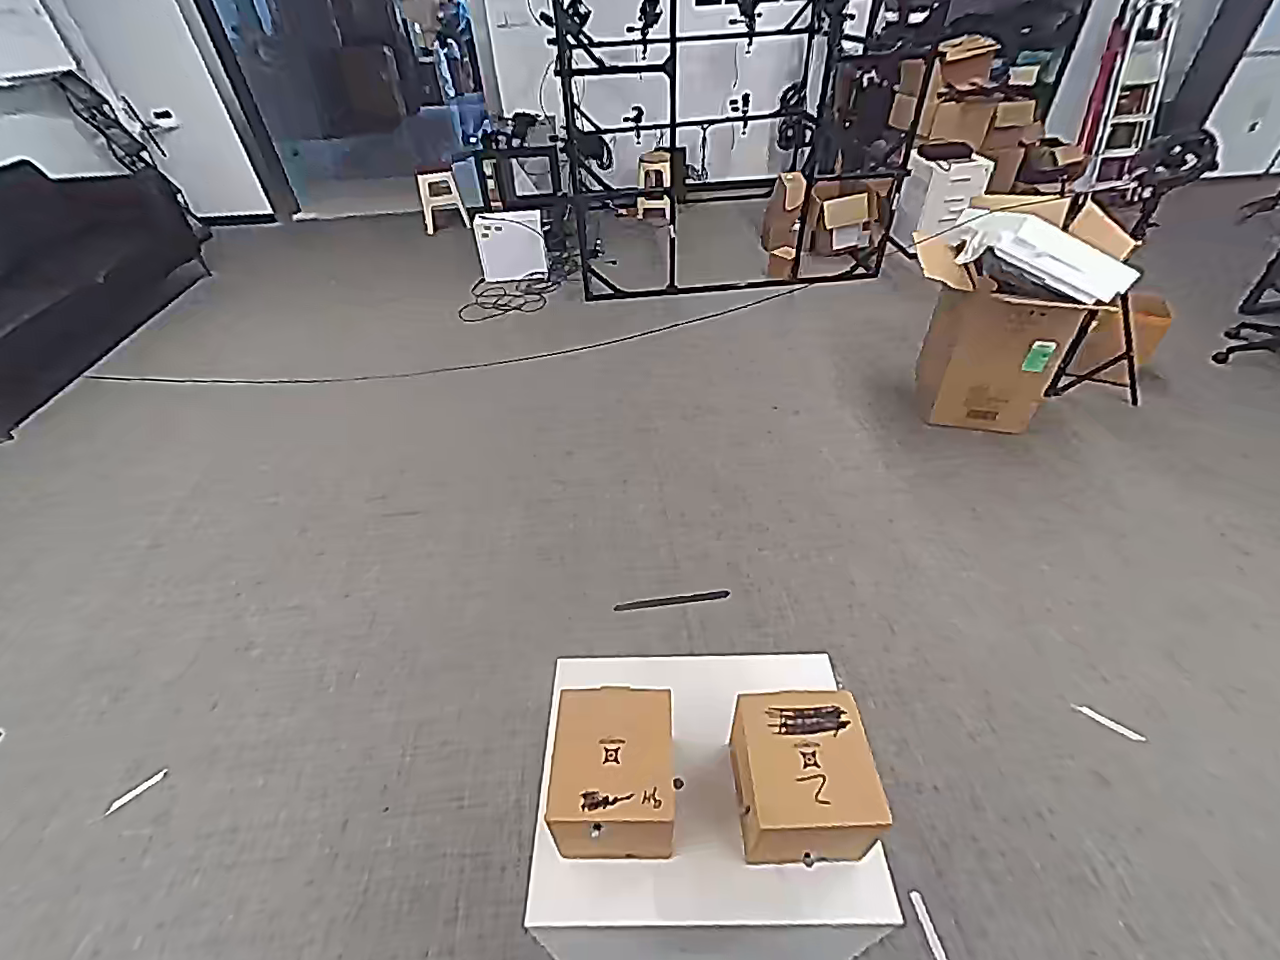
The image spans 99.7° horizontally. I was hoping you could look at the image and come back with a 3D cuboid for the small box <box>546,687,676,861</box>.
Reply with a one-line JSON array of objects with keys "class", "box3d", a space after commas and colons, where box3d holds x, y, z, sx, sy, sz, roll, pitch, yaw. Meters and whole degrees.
[{"class": "small box", "box3d": [-0.033, 0.426, 0.788, 0.168, 0.176, 0.179, -1, 41, 2]}]
